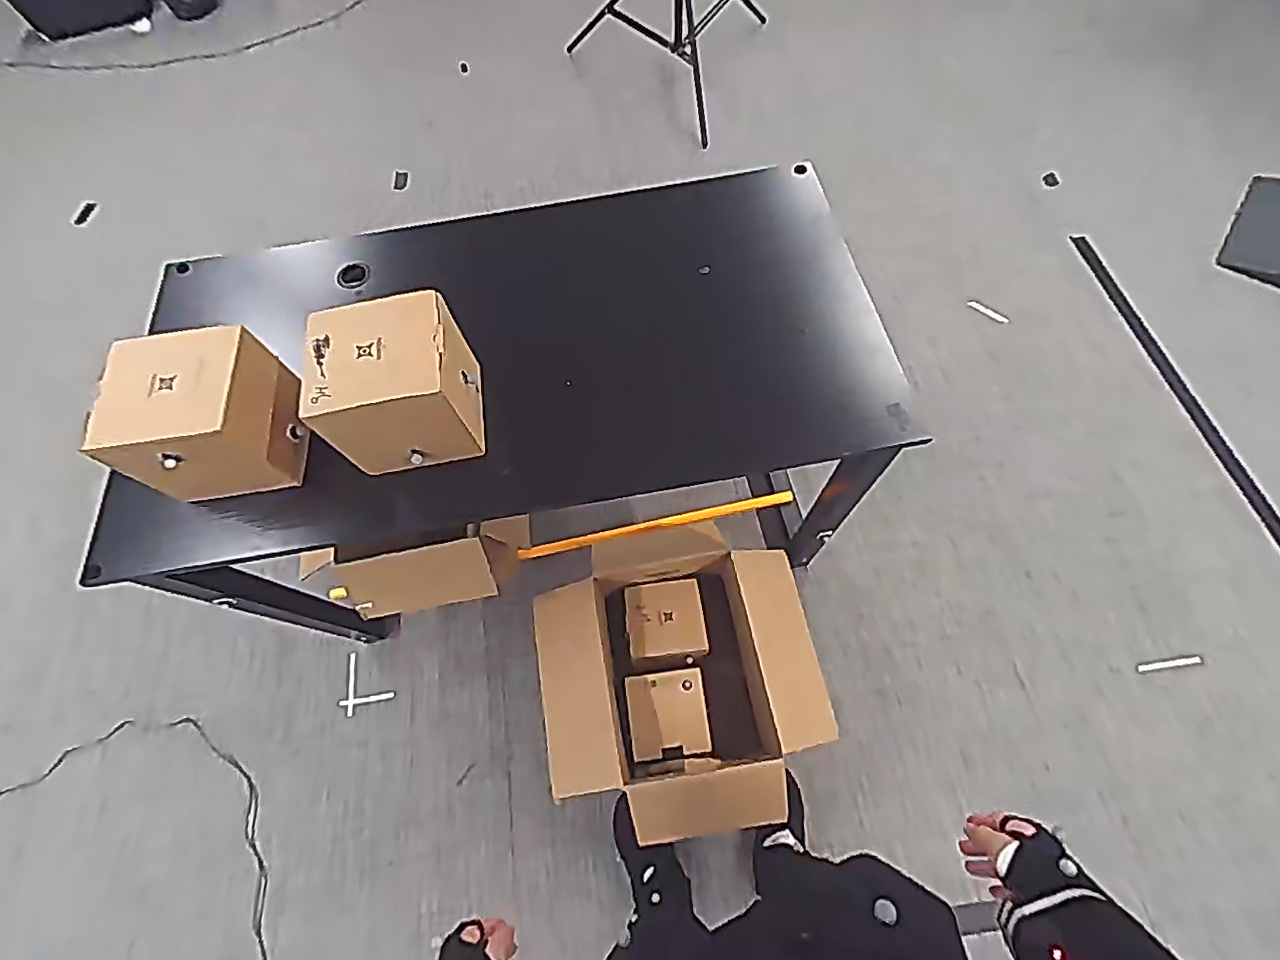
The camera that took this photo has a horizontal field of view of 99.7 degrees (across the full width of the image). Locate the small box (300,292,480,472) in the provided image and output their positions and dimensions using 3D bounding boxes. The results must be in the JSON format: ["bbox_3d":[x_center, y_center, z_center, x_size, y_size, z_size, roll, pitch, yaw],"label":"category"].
[{"bbox_3d":[-0.329,-0.127,0.748,0.179,0.176,0.168,-11,65,-2],"label":"small box"}]

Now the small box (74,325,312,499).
[{"bbox_3d":[-0.589,-0.084,0.744,0.179,0.176,0.168,-8,66,-1],"label":"small box"}]
